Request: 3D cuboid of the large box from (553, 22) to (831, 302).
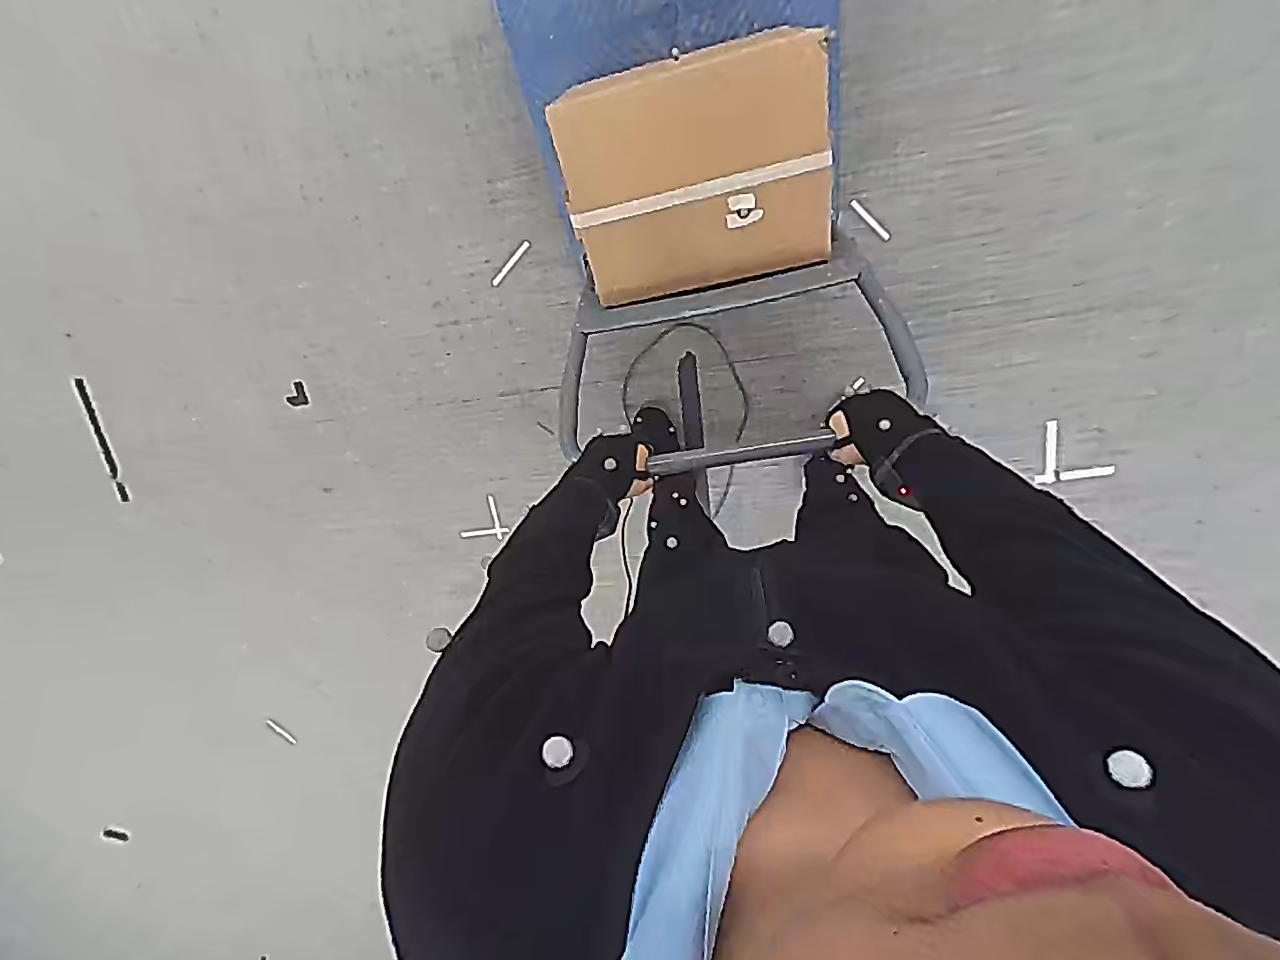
[{"bbox_3d":[0.098,-0.569,0.979,0.408,0.320,0.320,-10,130,10],"label":"large box"}]
